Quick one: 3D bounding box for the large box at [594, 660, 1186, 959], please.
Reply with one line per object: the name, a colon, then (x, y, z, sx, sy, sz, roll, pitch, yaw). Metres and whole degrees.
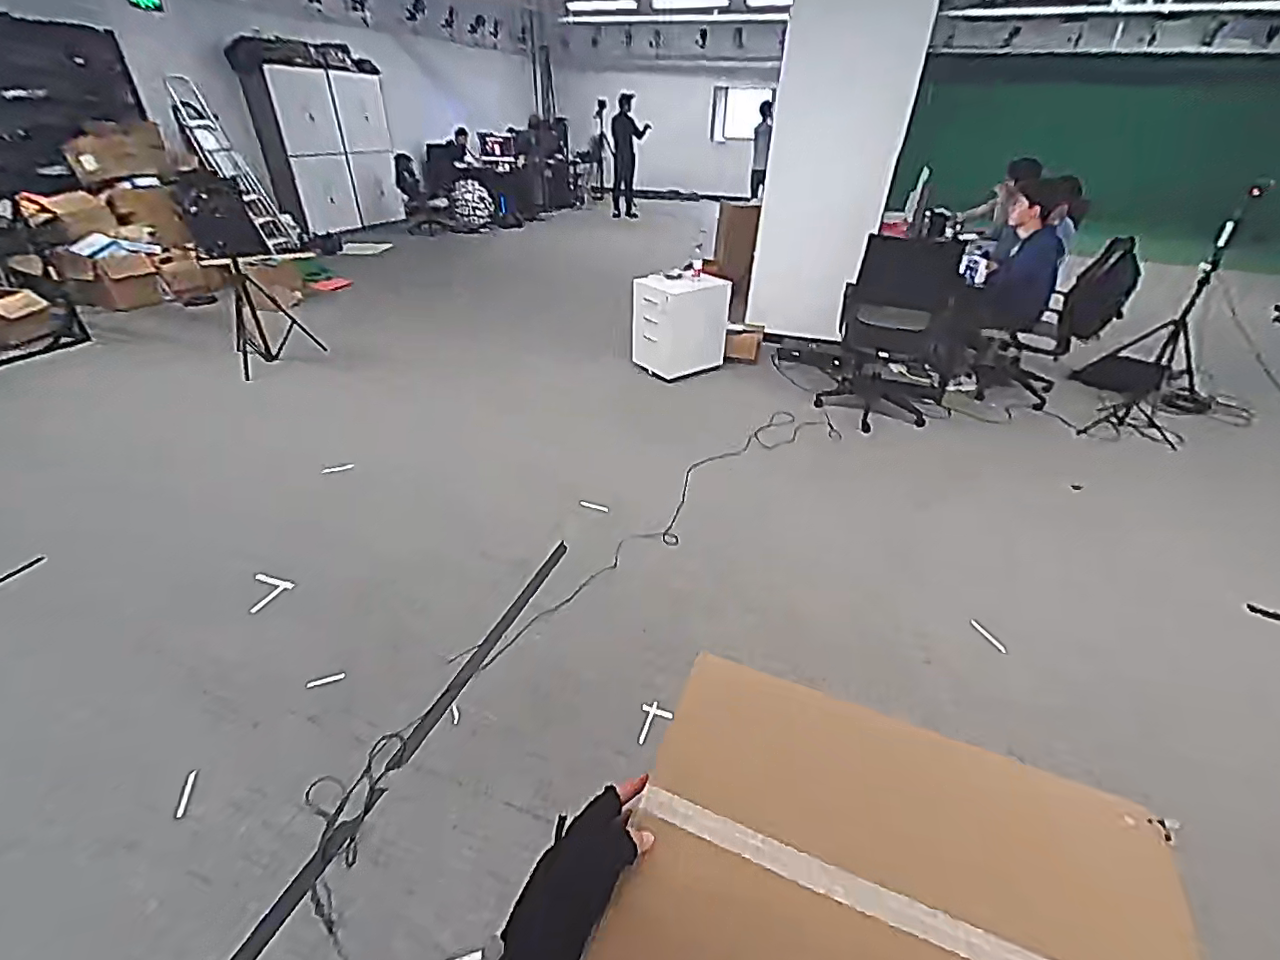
large box: (0.196, 0.444, 0.518, 0.408, 0.320, 0.320, 15, 43, 19)
